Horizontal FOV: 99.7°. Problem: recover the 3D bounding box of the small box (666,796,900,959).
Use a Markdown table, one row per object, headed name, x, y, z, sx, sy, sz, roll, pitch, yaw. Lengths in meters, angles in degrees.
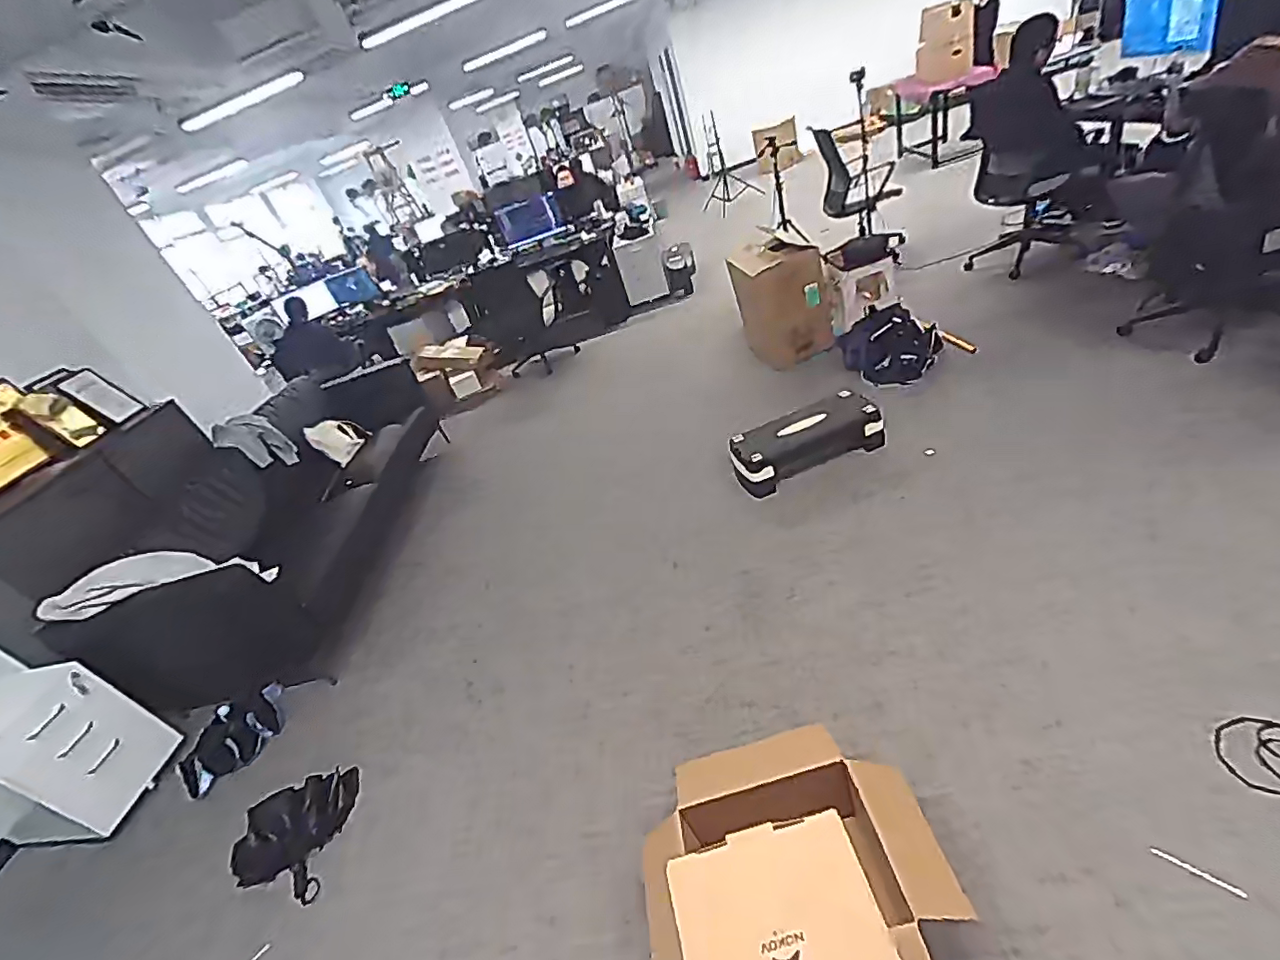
| name | x | y | z | sx | sy | sz | roll | pitch | yaw |
| --- | --- | --- | --- | --- | --- | --- | --- | --- | --- |
| small box | 0.135 | 0.427 | 0.490 | 0.168 | 0.176 | 0.179 | -19 | 42 | 1 |
